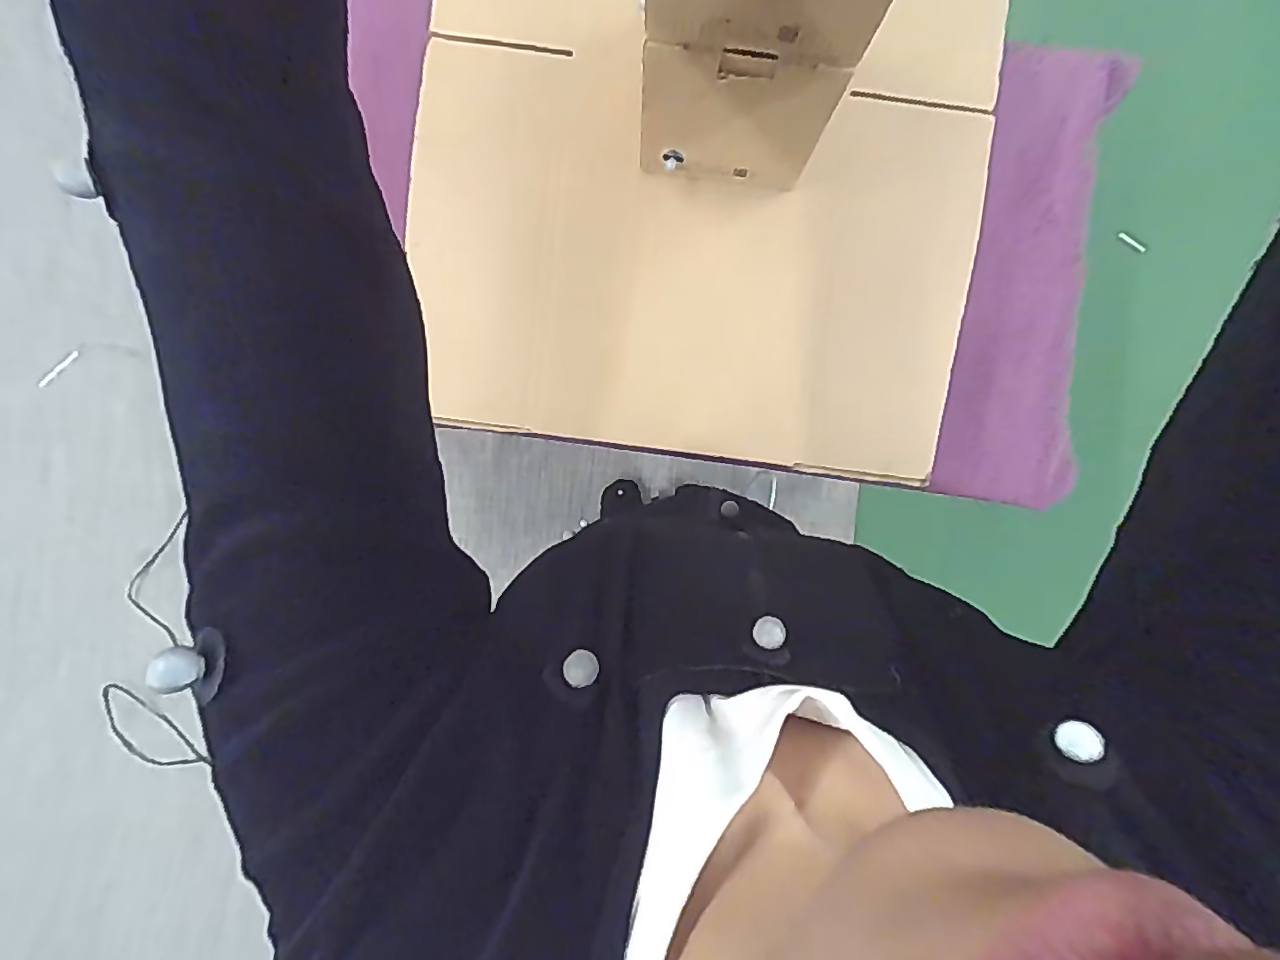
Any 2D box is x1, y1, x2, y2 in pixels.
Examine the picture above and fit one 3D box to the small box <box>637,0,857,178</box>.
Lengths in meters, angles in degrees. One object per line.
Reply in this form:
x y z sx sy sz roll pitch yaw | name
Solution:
0.089 -0.410 0.493 0.168 0.176 0.179 7 88 -1 | small box
